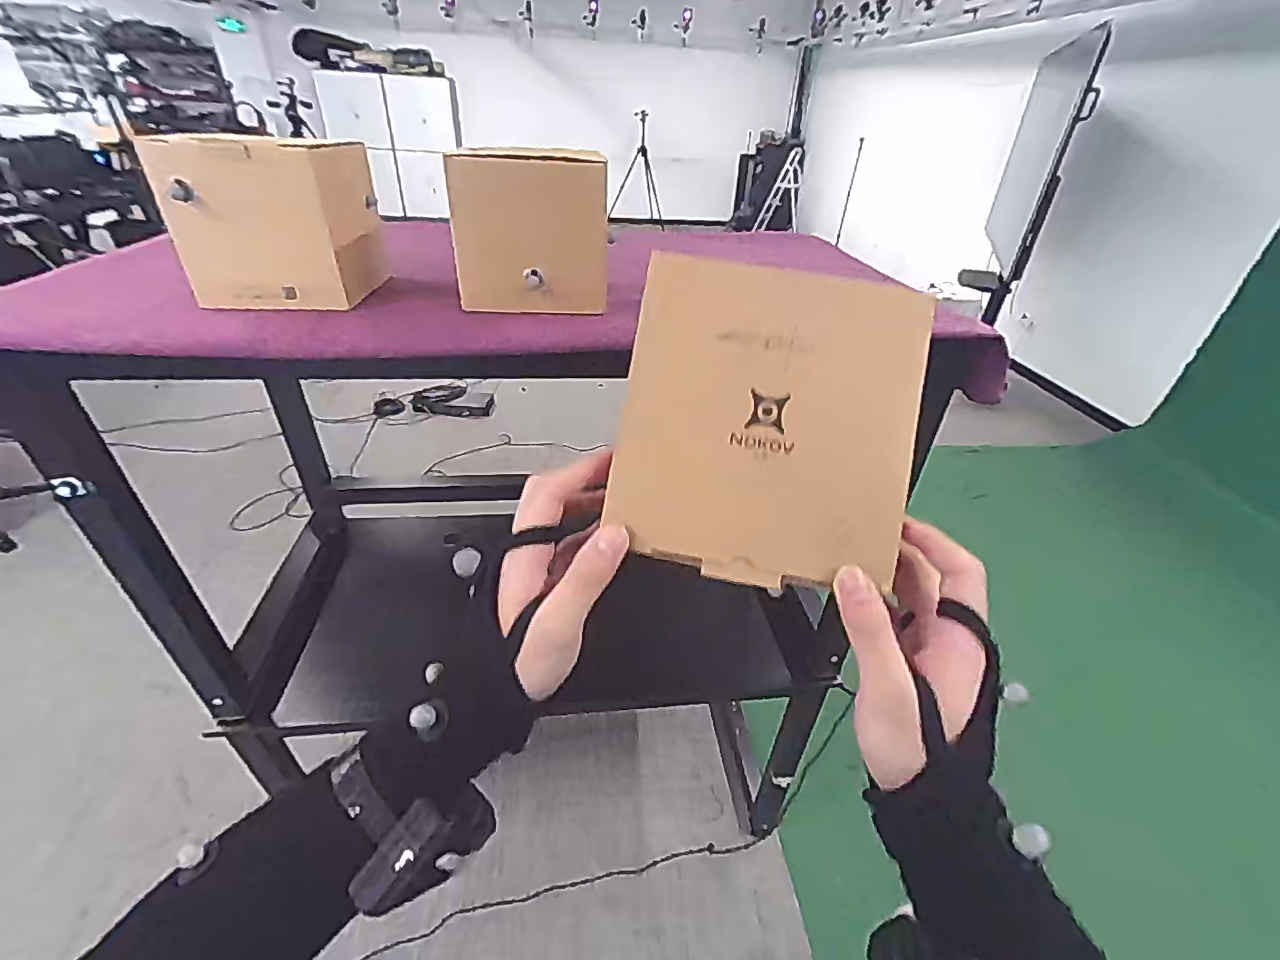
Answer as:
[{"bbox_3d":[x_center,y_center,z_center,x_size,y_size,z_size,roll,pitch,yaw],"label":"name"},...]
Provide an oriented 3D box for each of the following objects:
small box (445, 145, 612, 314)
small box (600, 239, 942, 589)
[{"bbox_3d":[-0.130,-0.314,0.681,0.179,0.176,0.168,-1,33,-7],"label":"small box"},{"bbox_3d":[0.078,-0.034,0.381,0.168,0.179,0.176,11,-4,4],"label":"small box"}]
